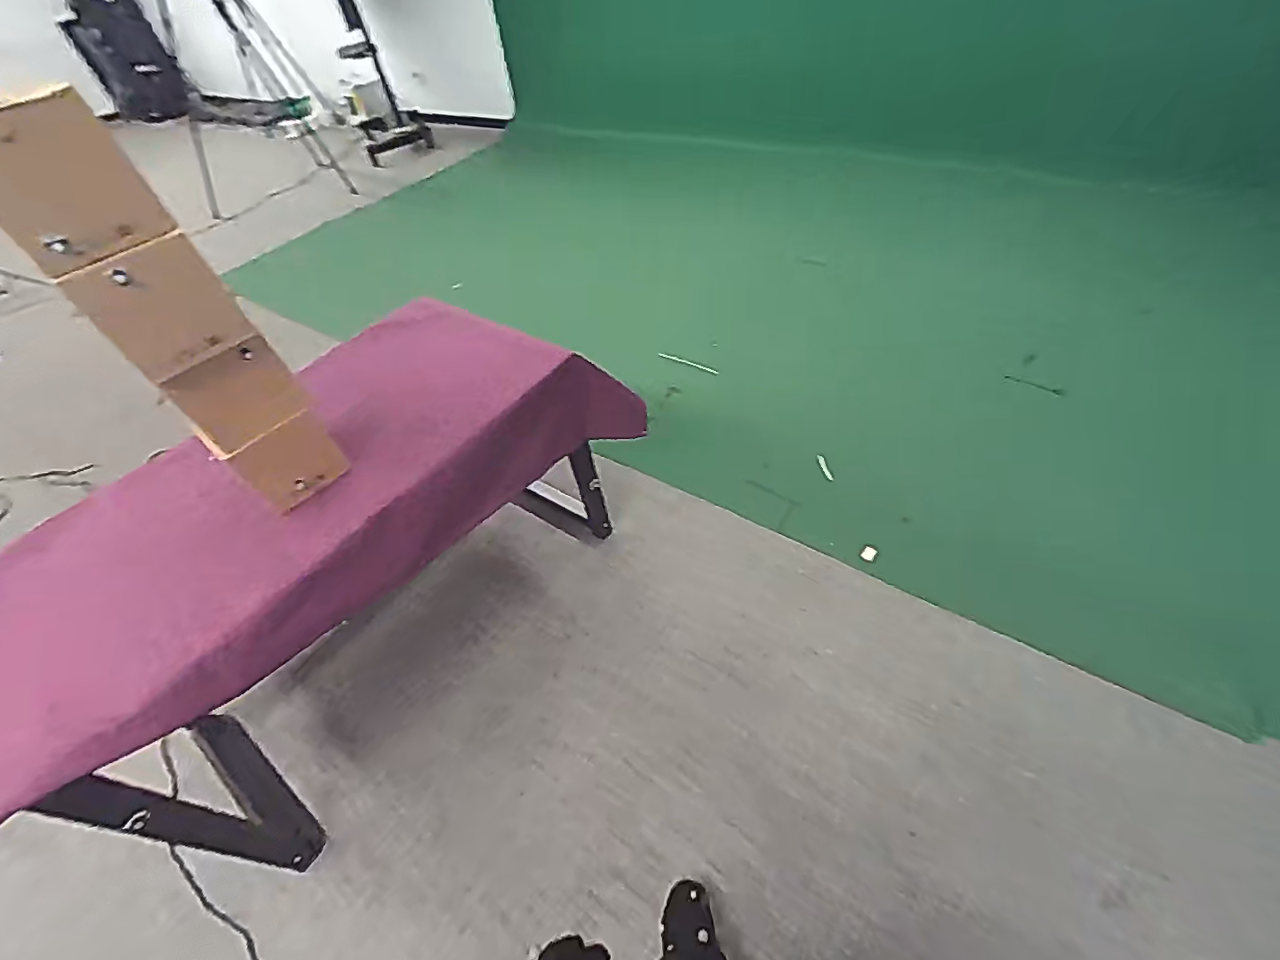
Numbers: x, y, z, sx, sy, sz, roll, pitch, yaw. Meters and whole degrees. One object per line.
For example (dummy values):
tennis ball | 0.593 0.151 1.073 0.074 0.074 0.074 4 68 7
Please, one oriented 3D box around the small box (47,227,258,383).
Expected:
small box | -0.734 -0.272 0.819 0.179 0.176 0.168 30 60 32

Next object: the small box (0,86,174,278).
small box | -0.768 -0.386 0.703 0.179 0.176 0.168 26 57 30

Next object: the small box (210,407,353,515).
small box | -0.714 -0.061 1.066 0.179 0.176 0.168 30 60 30

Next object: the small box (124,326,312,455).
small box | -0.731 -0.173 0.951 0.168 0.176 0.179 28 59 30
